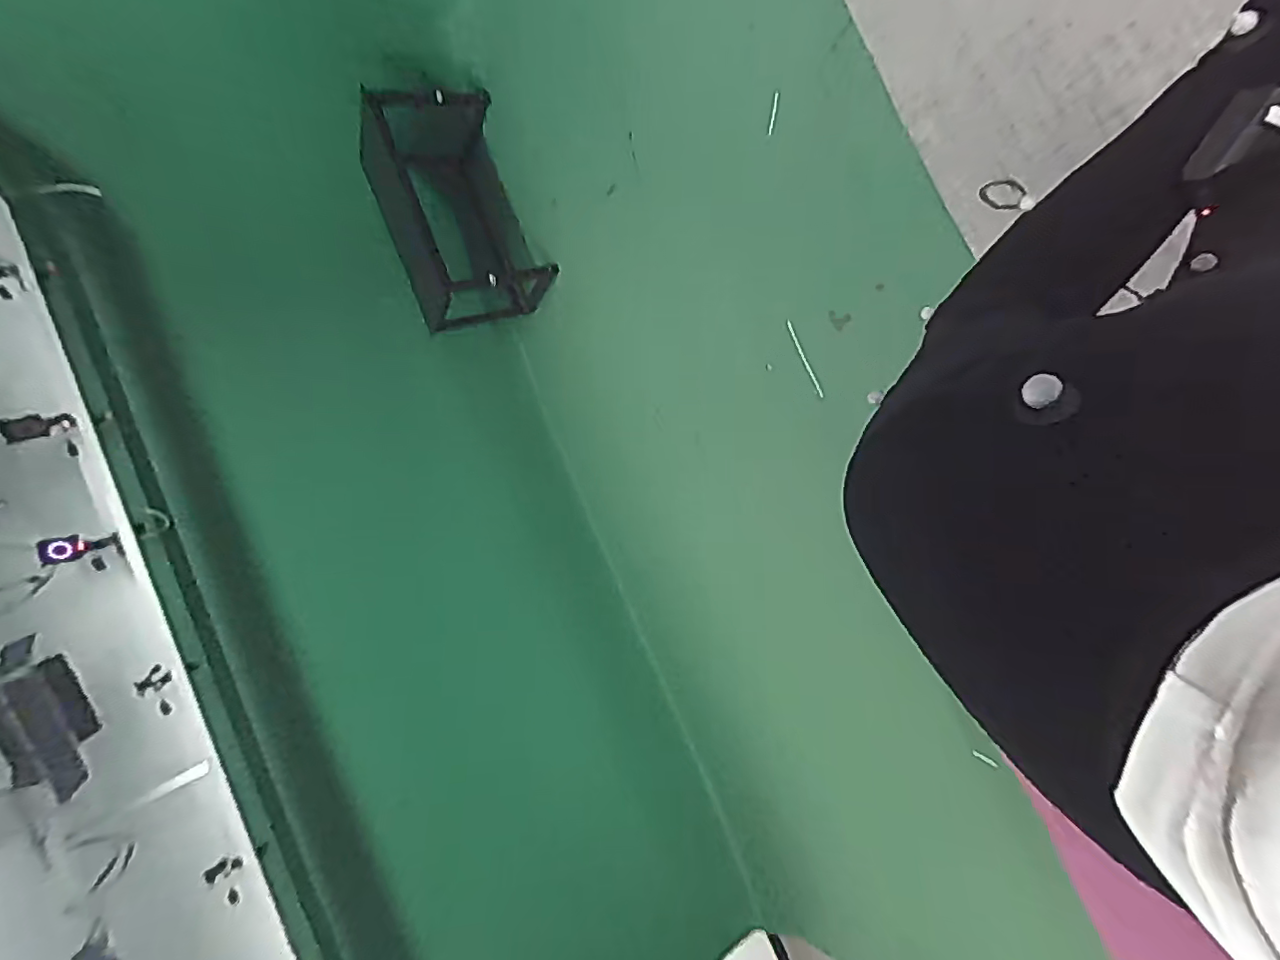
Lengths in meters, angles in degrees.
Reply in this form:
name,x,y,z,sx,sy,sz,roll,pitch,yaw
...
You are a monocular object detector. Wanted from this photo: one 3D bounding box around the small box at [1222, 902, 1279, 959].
name,x,y,z,sx,sy,sz,roll,pitch,yaw
small box,0.928,0.703,0.700,0.168,0.176,0.179,65,152,5
